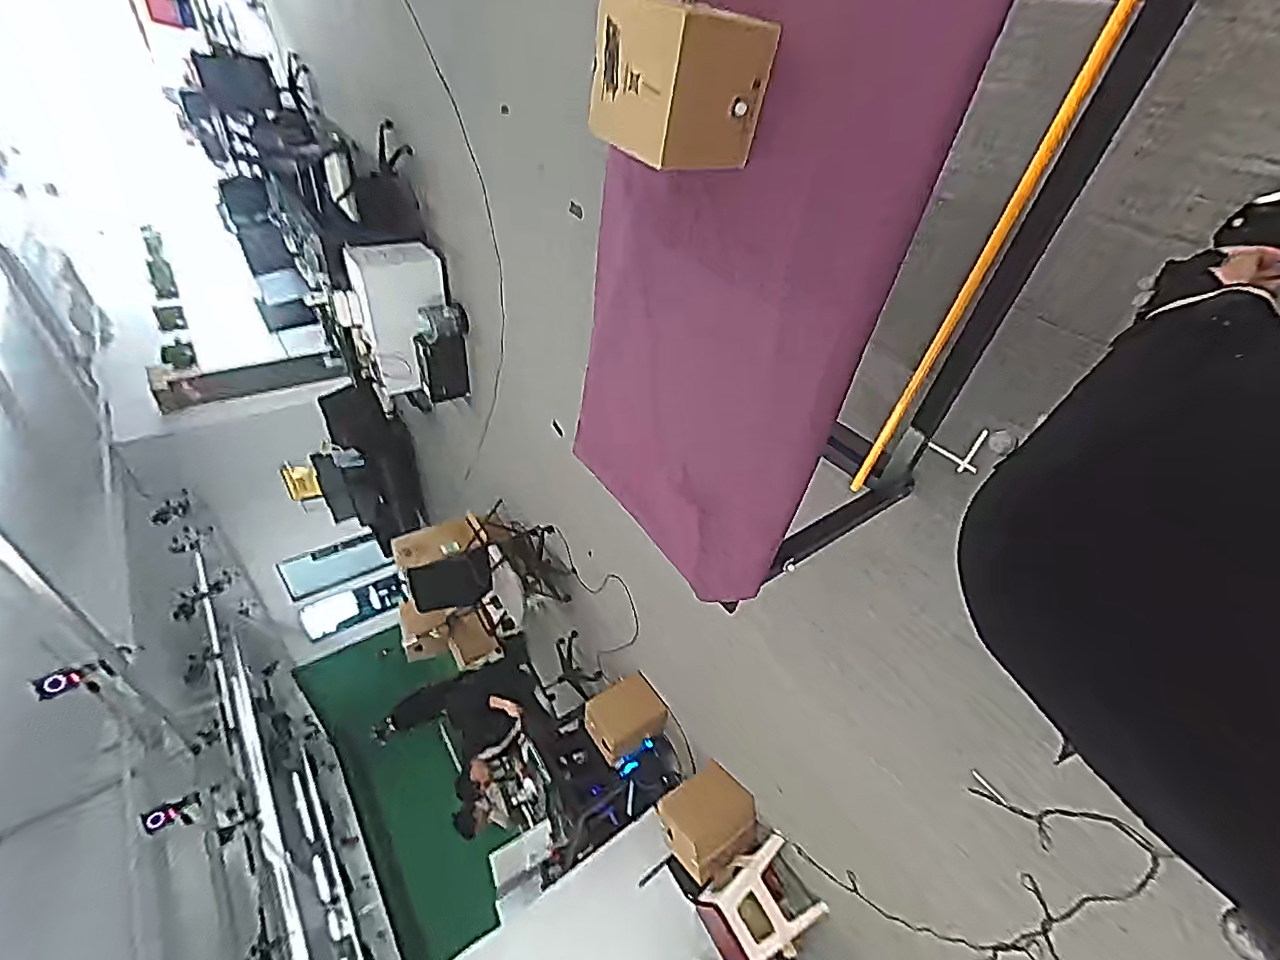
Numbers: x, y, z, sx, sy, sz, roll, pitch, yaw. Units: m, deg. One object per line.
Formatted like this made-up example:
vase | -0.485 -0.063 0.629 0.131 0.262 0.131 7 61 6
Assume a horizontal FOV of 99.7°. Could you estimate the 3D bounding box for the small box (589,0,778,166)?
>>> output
small box | 0.052 -0.549 0.744 0.179 0.176 0.168 47 143 31
